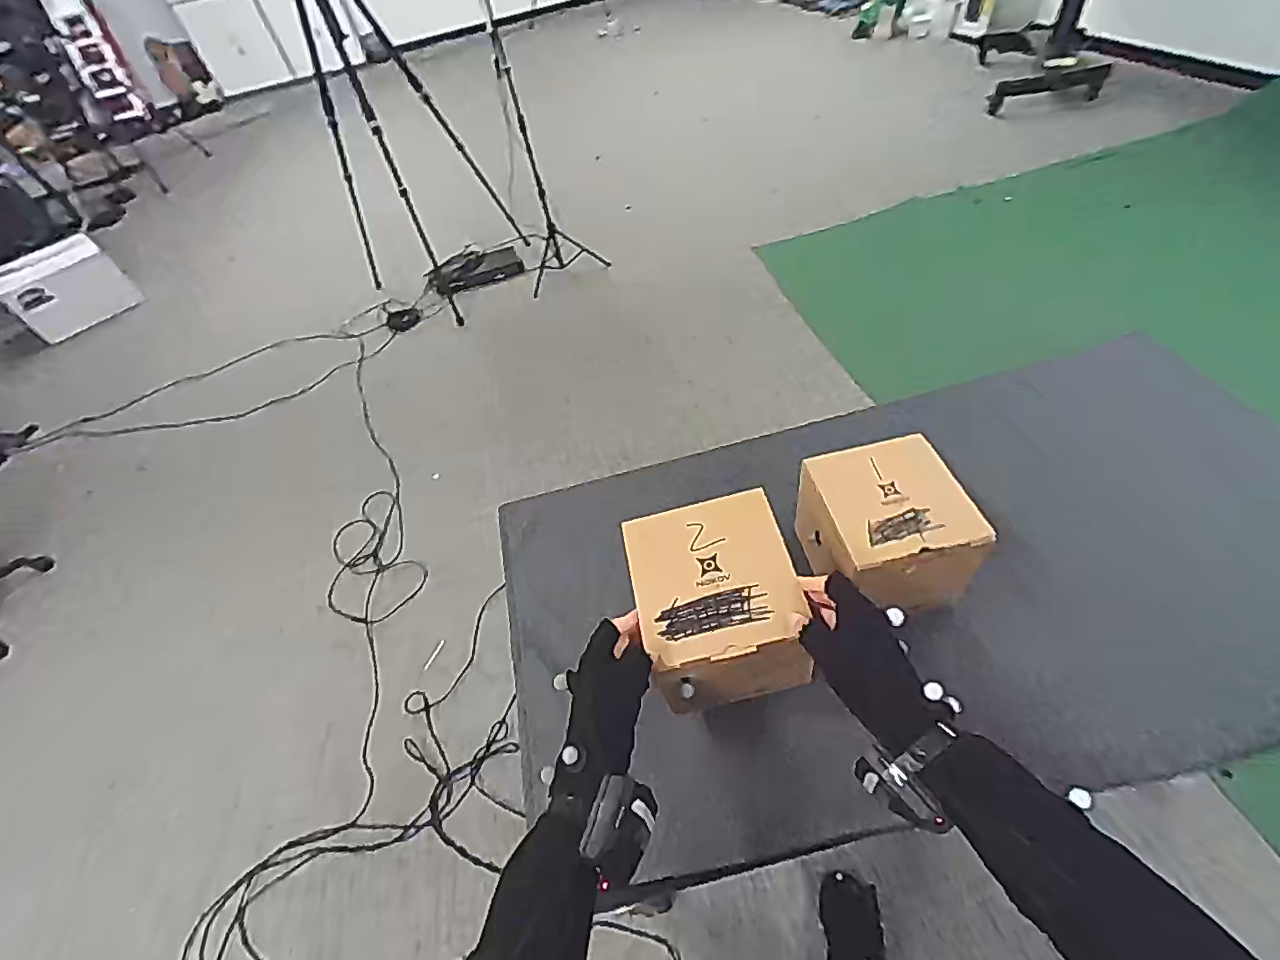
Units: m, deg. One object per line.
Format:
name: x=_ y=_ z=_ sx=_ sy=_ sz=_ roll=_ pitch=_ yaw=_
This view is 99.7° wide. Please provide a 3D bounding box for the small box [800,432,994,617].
small box: x=0.325 y=0.068 z=0.727 sx=0.168 sy=0.176 sz=0.179 roll=-13 pitch=49 yaw=1
